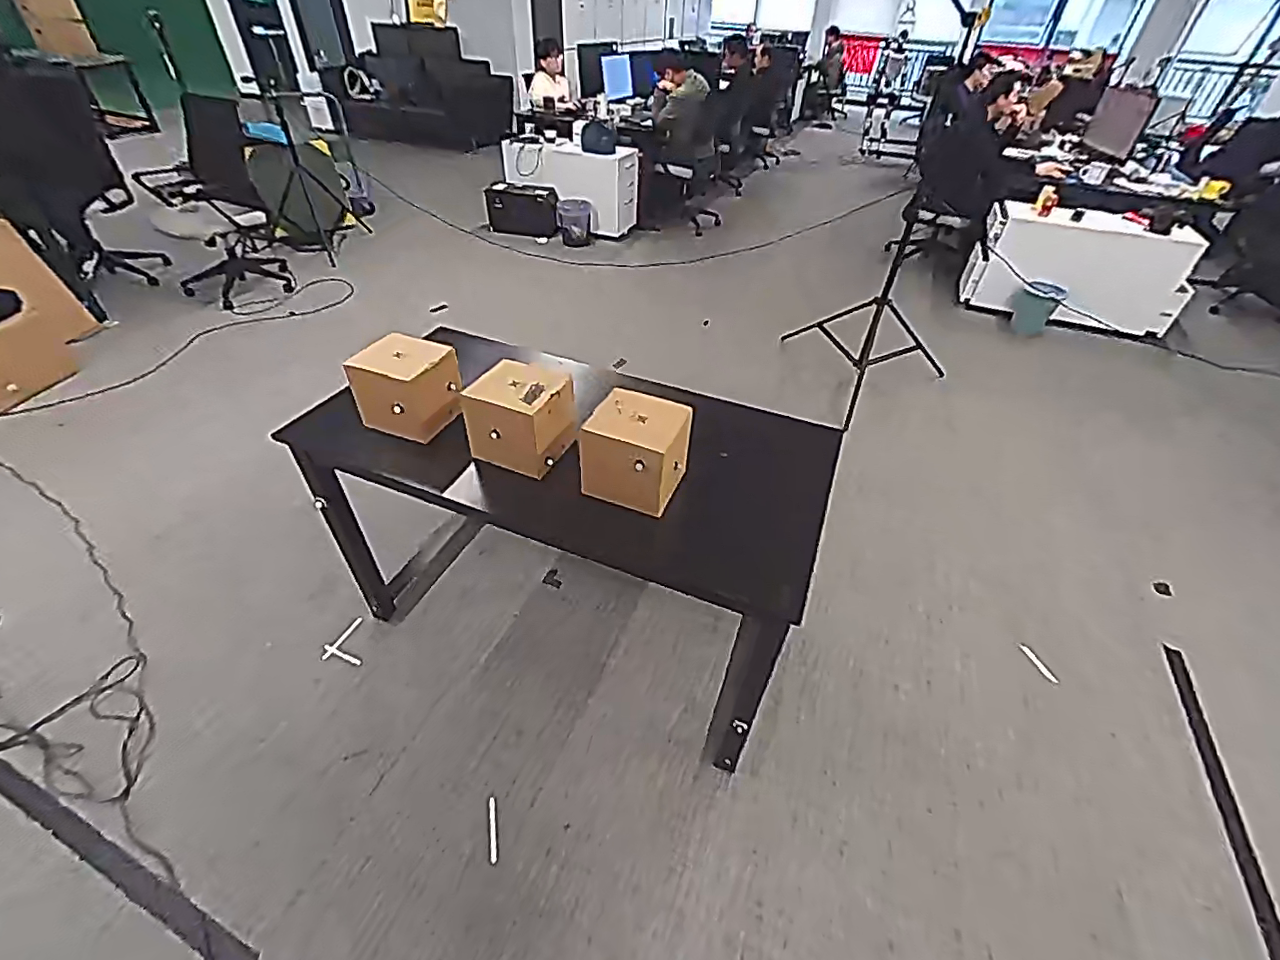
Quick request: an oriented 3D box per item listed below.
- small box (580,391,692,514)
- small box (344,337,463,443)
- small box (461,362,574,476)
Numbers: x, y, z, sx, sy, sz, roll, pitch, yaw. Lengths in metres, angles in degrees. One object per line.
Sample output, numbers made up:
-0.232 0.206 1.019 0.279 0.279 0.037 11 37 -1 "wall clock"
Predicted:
-0.007 -0.055 1.108 0.179 0.176 0.168 17 42 15 "small box"
-0.533 -0.206 1.252 0.179 0.176 0.168 15 42 14 "small box"
-0.257 -0.130 1.180 0.179 0.176 0.168 17 43 16 "small box"
